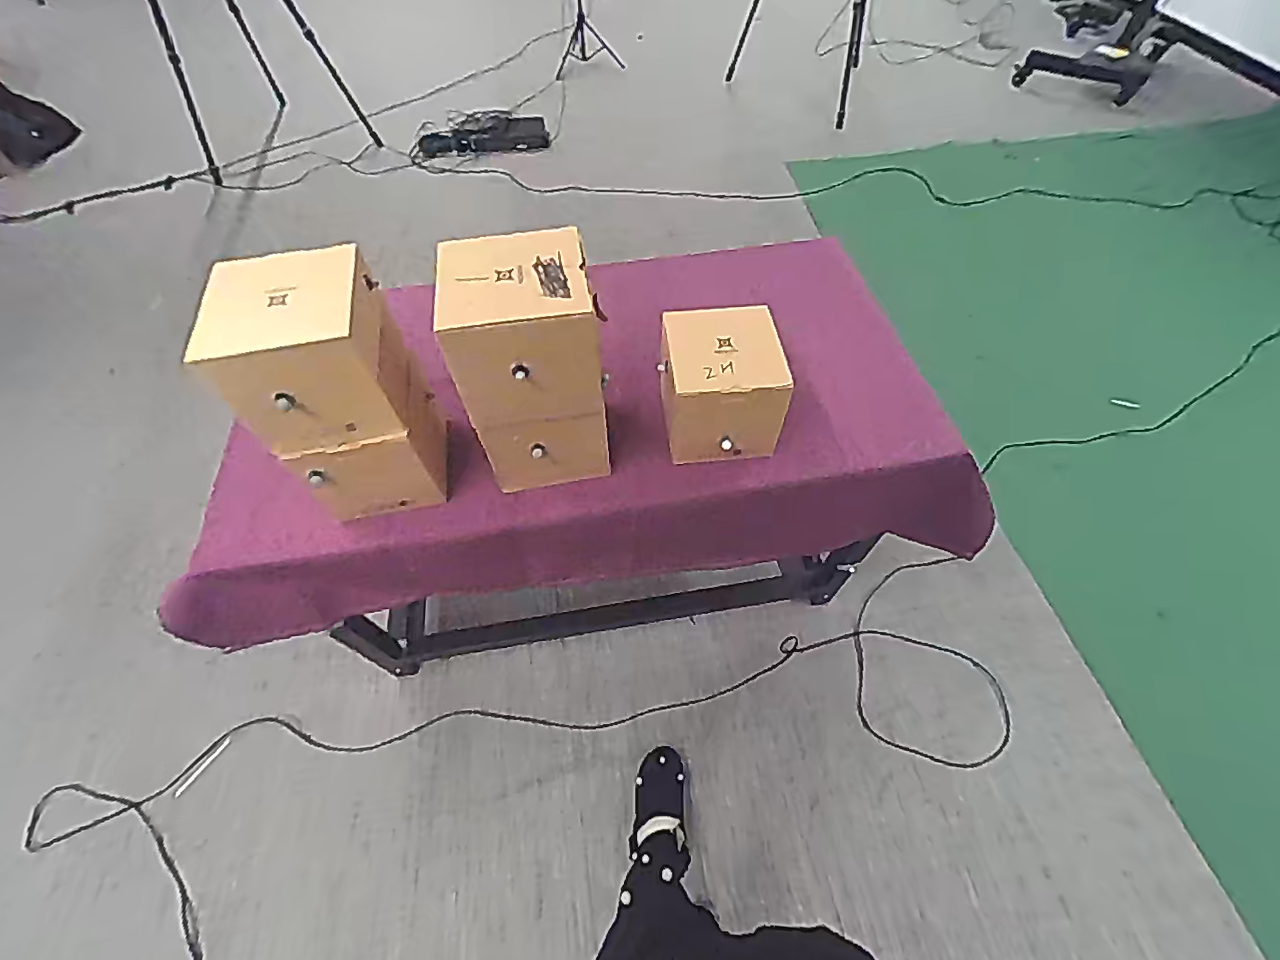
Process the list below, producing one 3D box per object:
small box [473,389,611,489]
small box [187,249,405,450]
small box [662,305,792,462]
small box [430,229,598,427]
[{"bbox_3d":[-0.148,-0.103,0.832,0.179,0.176,0.168,-10,57,-5],"label":"small box"},{"bbox_3d":[-0.408,-0.155,0.679,0.168,0.176,0.179,-13,56,-7],"label":"small box"},{"bbox_3d":[0.124,-0.149,0.853,0.168,0.176,0.179,-5,56,-1],"label":"small box"},{"bbox_3d":[-0.150,-0.189,0.692,0.179,0.176,0.168,-9,57,-4],"label":"small box"}]
